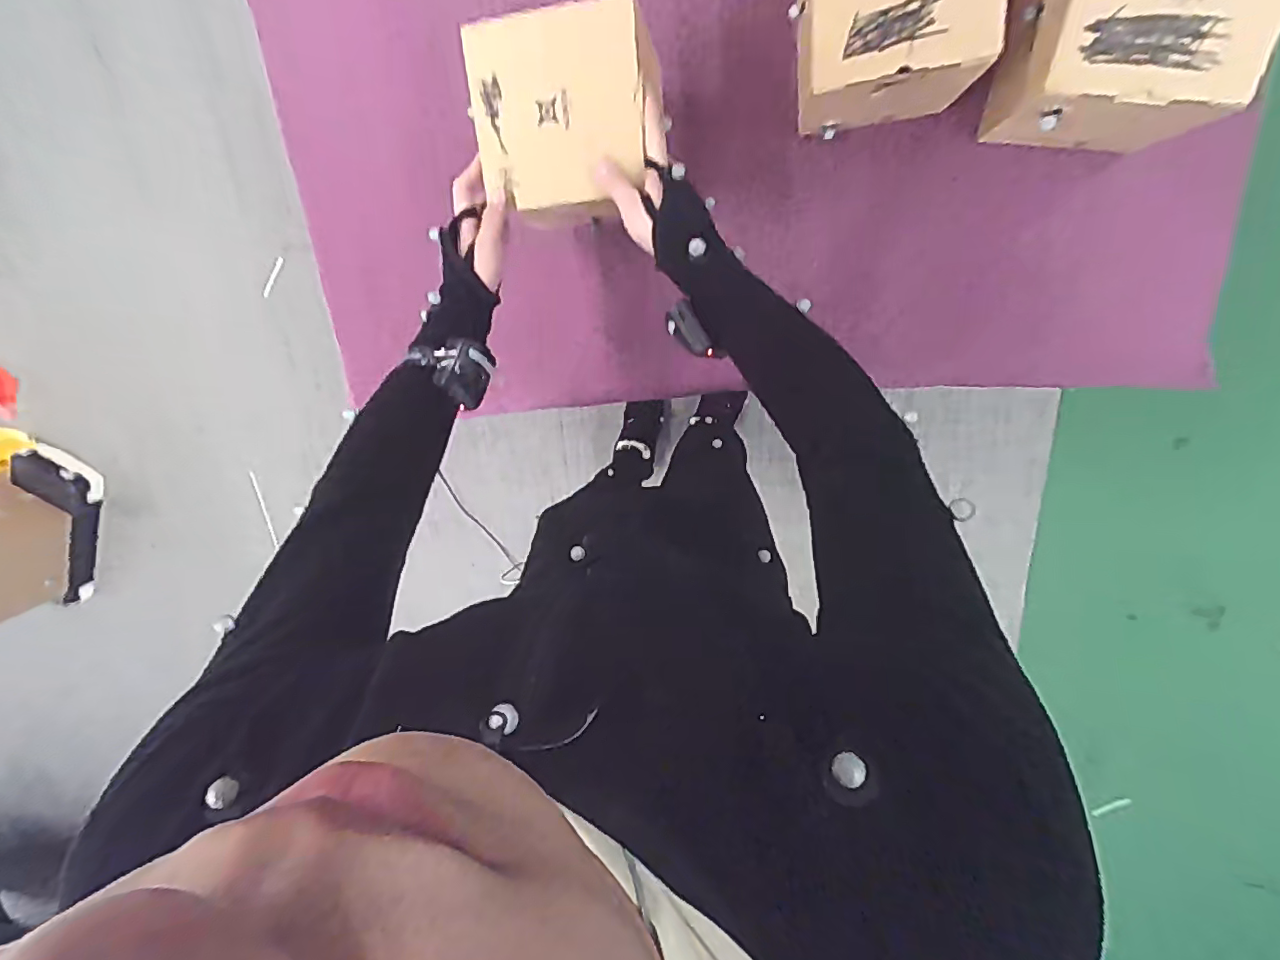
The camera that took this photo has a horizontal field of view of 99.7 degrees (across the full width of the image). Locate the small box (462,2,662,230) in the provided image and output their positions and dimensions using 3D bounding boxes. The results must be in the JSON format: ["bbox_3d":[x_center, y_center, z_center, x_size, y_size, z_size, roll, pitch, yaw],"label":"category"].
[{"bbox_3d":[-0.069,-0.384,0.605,0.179,0.176,0.168,-1,108,10],"label":"small box"}]
